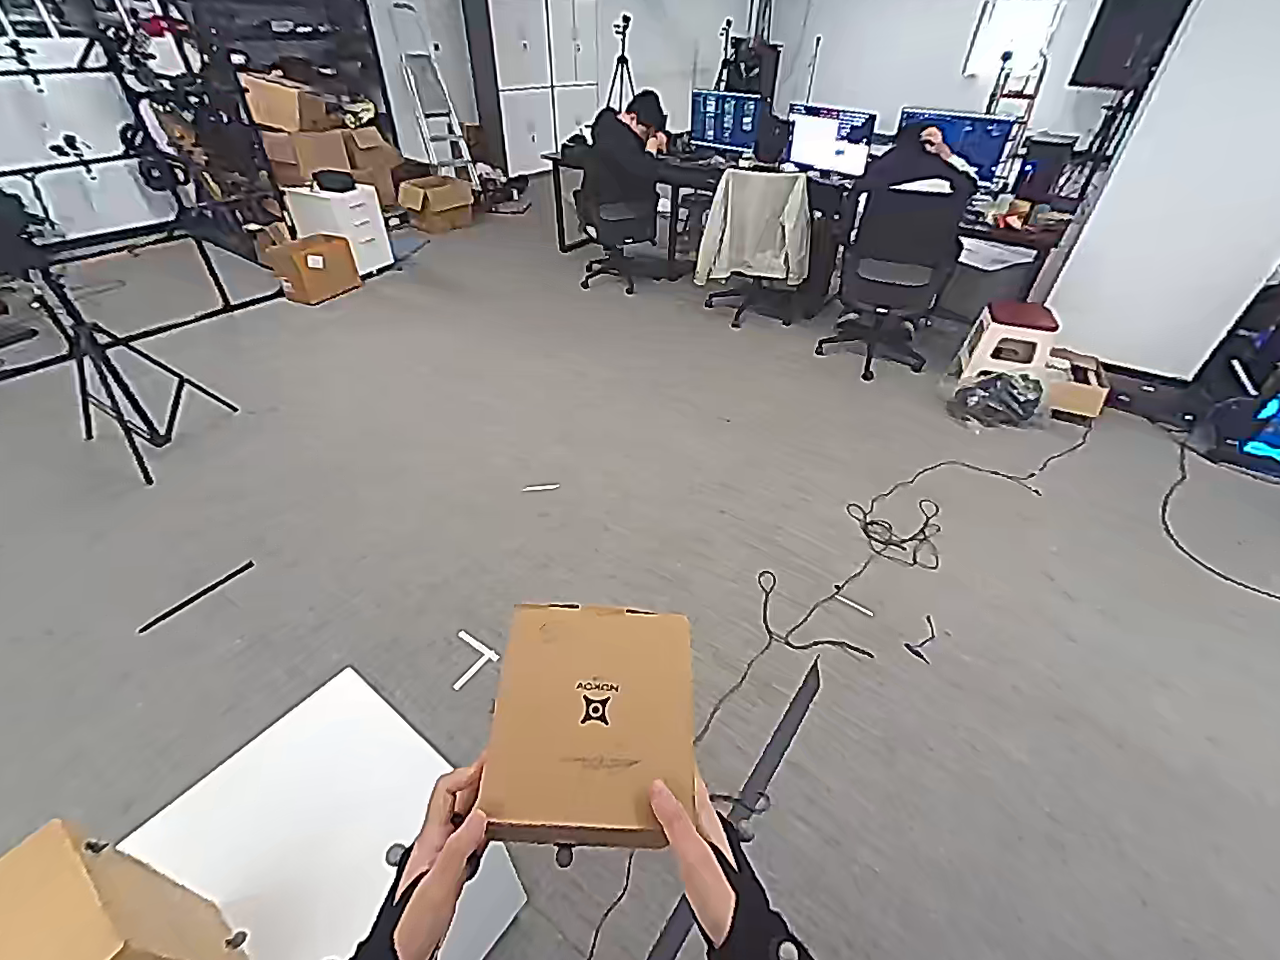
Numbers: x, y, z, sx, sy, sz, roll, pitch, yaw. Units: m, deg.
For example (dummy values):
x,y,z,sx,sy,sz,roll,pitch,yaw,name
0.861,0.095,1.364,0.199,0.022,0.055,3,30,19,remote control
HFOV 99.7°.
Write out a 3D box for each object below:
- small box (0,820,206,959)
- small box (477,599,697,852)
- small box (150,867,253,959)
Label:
x,y,z,sx,sy,sz,roll,pitch,yaw,name
-0.557,0.472,0.504,0.179,0.176,0.168,25,45,27,small box
-0.046,0.234,0.507,0.168,0.176,0.179,6,52,-5,small box
-0.561,0.598,0.608,0.179,0.176,0.168,25,45,28,small box
